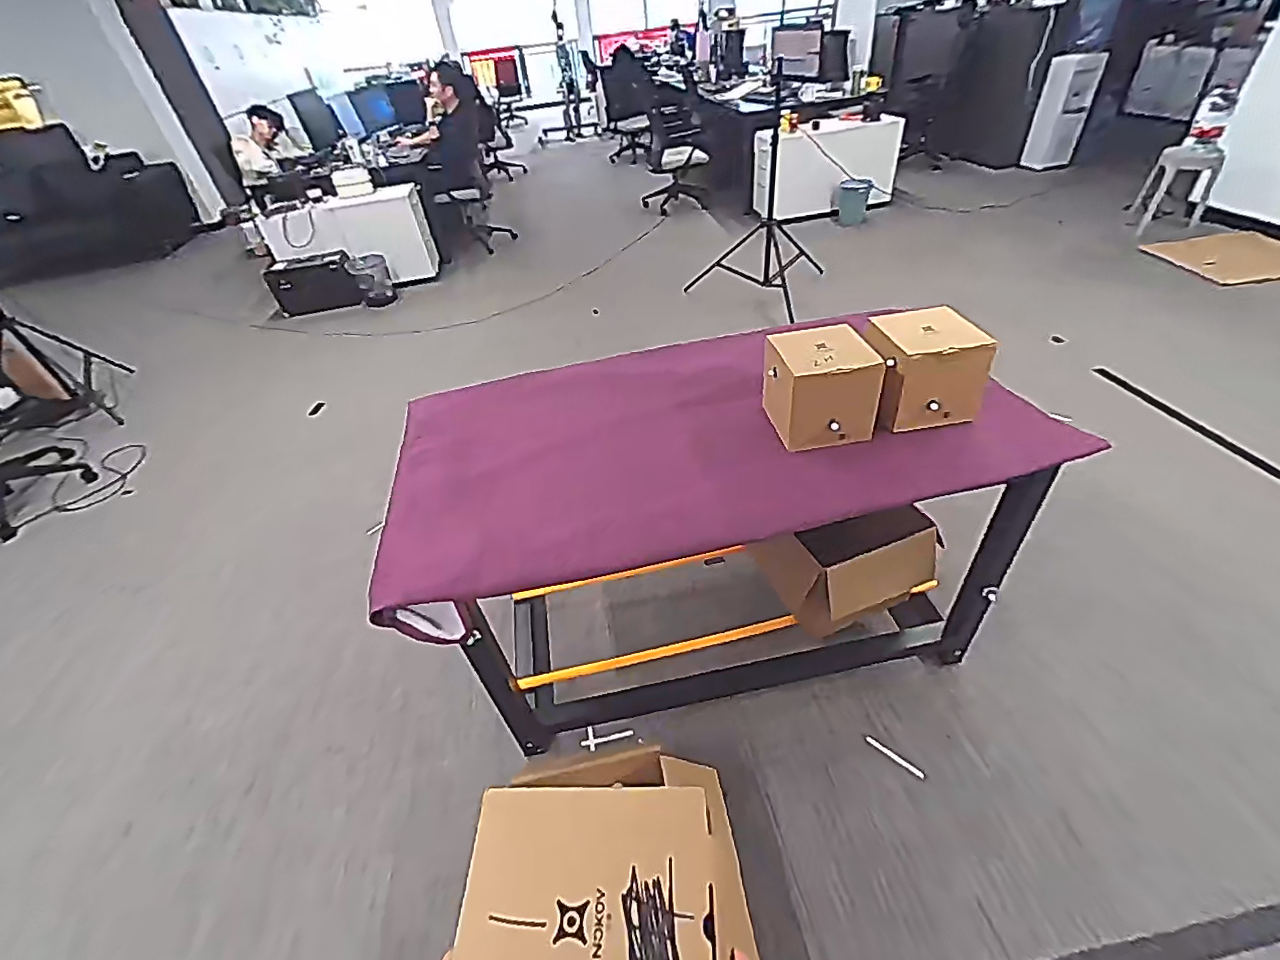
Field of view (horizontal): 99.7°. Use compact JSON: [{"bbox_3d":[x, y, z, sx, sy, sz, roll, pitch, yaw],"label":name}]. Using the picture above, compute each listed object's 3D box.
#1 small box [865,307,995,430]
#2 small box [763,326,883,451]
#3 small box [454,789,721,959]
[{"bbox_3d":[0.550,-0.221,1.072,0.168,0.176,0.179,-10,39,-1],"label":"small box"},{"bbox_3d":[0.344,-0.180,1.059,0.168,0.176,0.179,-9,40,-1],"label":"small box"},{"bbox_3d":[-0.027,0.352,0.415,0.179,0.176,0.168,-4,46,6],"label":"small box"}]
